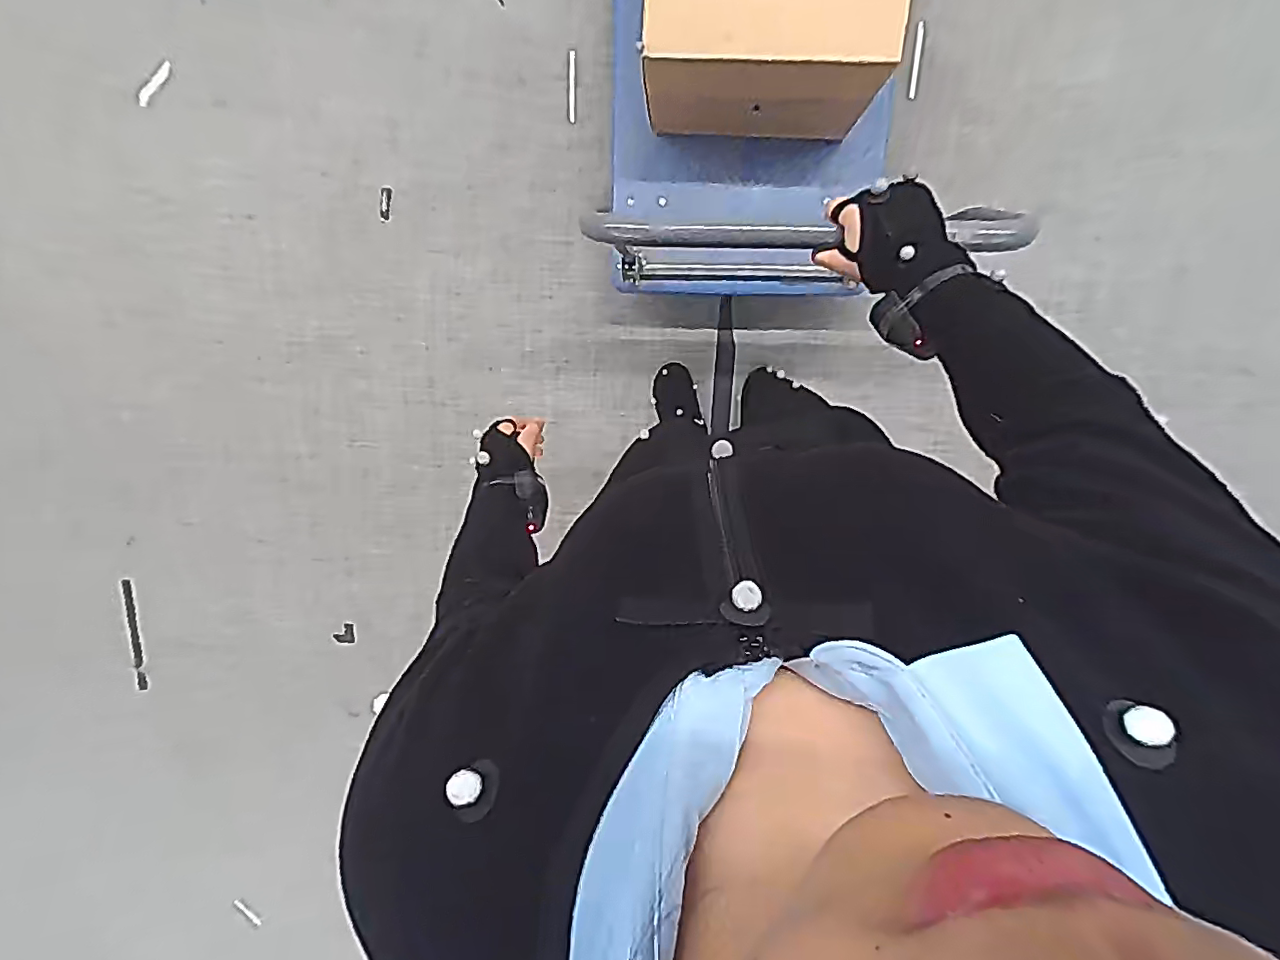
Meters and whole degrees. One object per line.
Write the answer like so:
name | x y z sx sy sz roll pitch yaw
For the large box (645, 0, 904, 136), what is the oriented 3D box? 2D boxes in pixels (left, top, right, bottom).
large box | 0.226 -0.849 0.974 0.408 0.320 0.320 4 102 4
